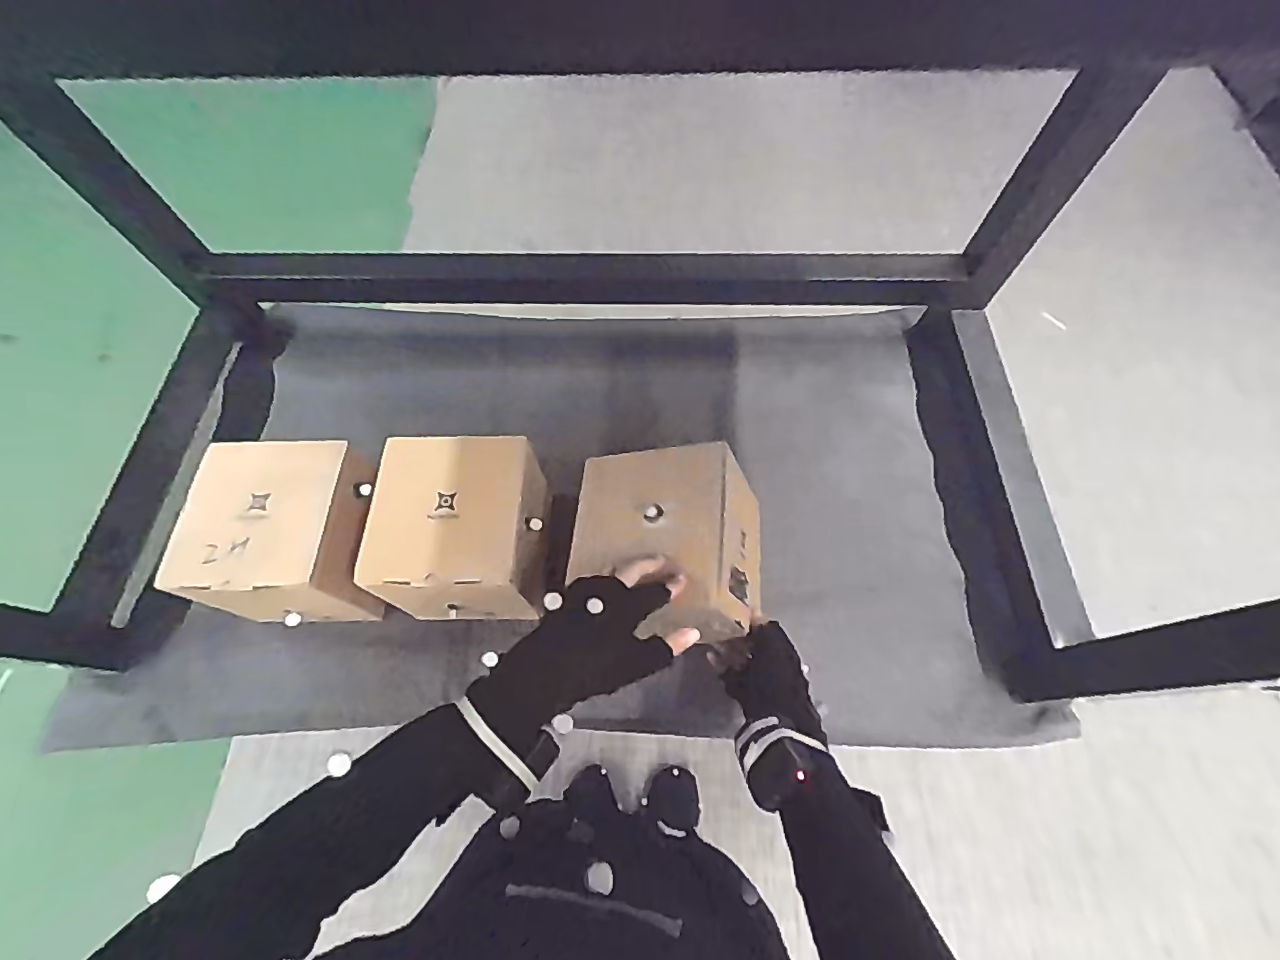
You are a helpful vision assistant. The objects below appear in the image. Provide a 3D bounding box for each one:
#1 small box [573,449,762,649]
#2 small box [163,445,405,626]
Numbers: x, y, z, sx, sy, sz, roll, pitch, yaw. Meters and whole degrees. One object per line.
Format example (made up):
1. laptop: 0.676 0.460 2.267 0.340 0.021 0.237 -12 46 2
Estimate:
1. small box: 0.039 0.087 0.620 0.176 0.168 0.179 -6 61 22
2. small box: -0.412 0.073 0.666 0.168 0.176 0.179 -1 63 1
